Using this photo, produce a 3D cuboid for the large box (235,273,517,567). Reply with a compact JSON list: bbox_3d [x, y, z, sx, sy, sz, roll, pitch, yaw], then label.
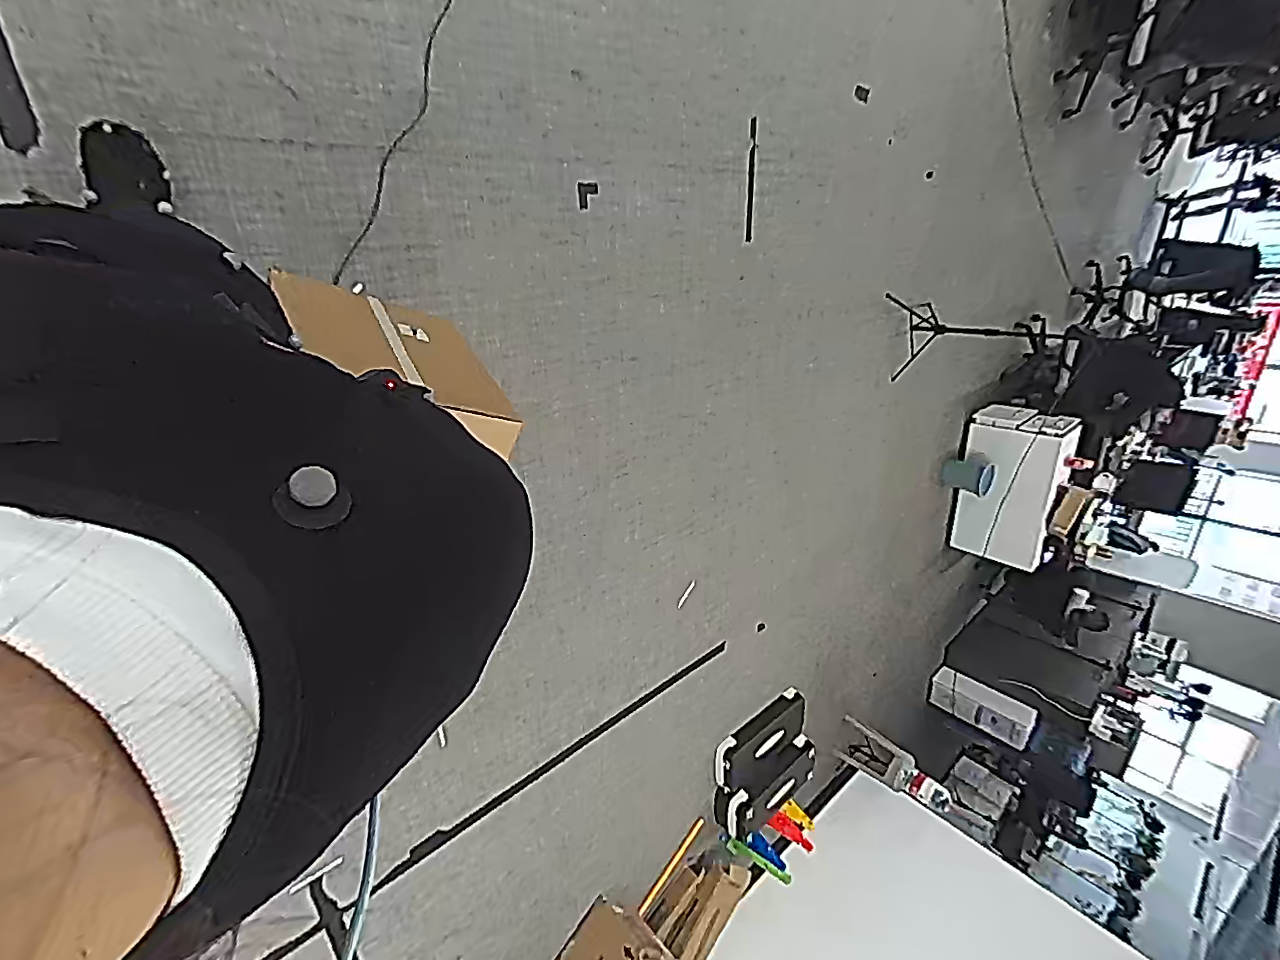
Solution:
[{"bbox_3d":[-0.470,-0.097,0.921,0.320,0.408,0.320,8,118,-43],"label":"large box"}]
